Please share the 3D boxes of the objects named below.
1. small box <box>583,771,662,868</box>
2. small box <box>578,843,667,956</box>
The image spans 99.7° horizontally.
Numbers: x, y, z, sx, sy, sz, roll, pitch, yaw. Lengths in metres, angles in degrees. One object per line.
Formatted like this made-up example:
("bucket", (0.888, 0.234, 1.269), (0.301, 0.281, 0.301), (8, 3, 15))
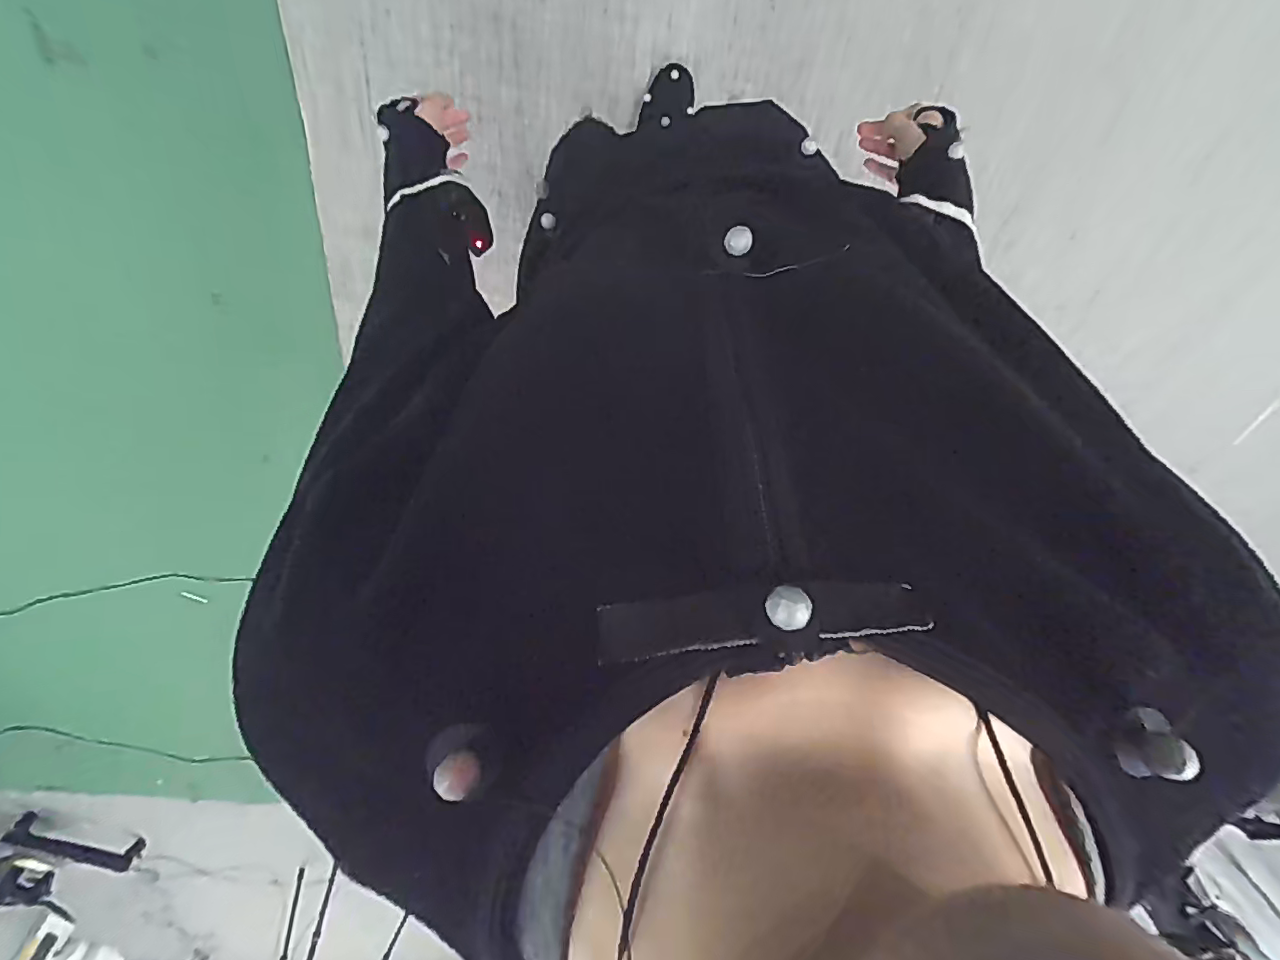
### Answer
("small box", (-0.049, 0.859, 1.370), (0.179, 0.176, 0.168), (5, 126, -6))
("small box", (-0.043, 0.955, 1.236), (0.179, 0.176, 0.168), (6, 127, -7))
